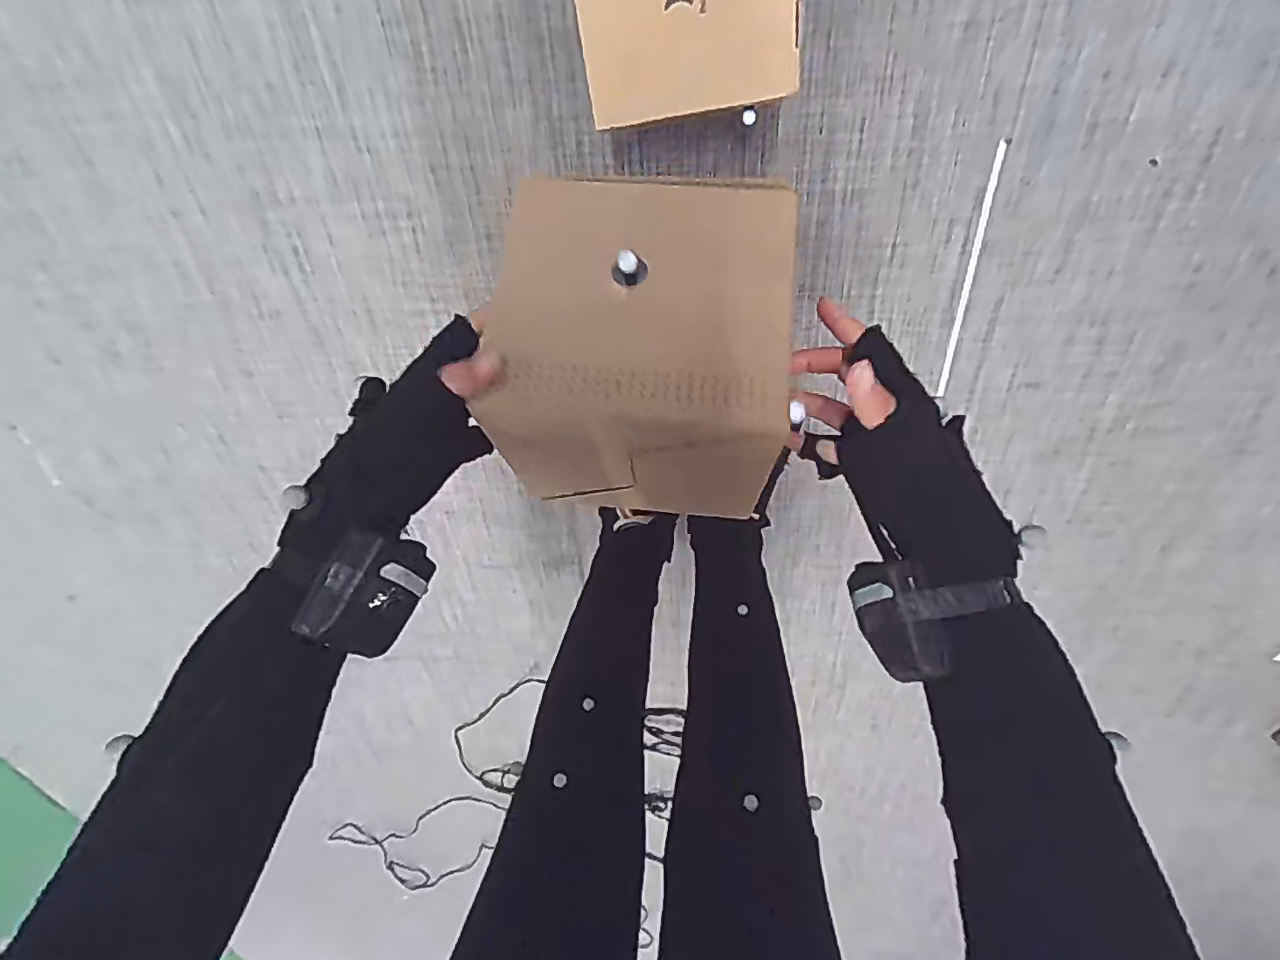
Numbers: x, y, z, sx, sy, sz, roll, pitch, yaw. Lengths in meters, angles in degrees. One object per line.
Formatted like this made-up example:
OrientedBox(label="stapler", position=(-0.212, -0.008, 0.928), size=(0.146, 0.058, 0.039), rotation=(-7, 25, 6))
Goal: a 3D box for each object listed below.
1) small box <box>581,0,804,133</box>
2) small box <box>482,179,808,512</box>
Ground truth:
OrientedBox(label="small box", position=(0.048, -0.421, 0.487), size=(0.179, 0.176, 0.168), rotation=(-4, 122, 10))
OrientedBox(label="small box", position=(0.008, -0.079, 0.389), size=(0.179, 0.176, 0.168), rotation=(7, 163, 4))
